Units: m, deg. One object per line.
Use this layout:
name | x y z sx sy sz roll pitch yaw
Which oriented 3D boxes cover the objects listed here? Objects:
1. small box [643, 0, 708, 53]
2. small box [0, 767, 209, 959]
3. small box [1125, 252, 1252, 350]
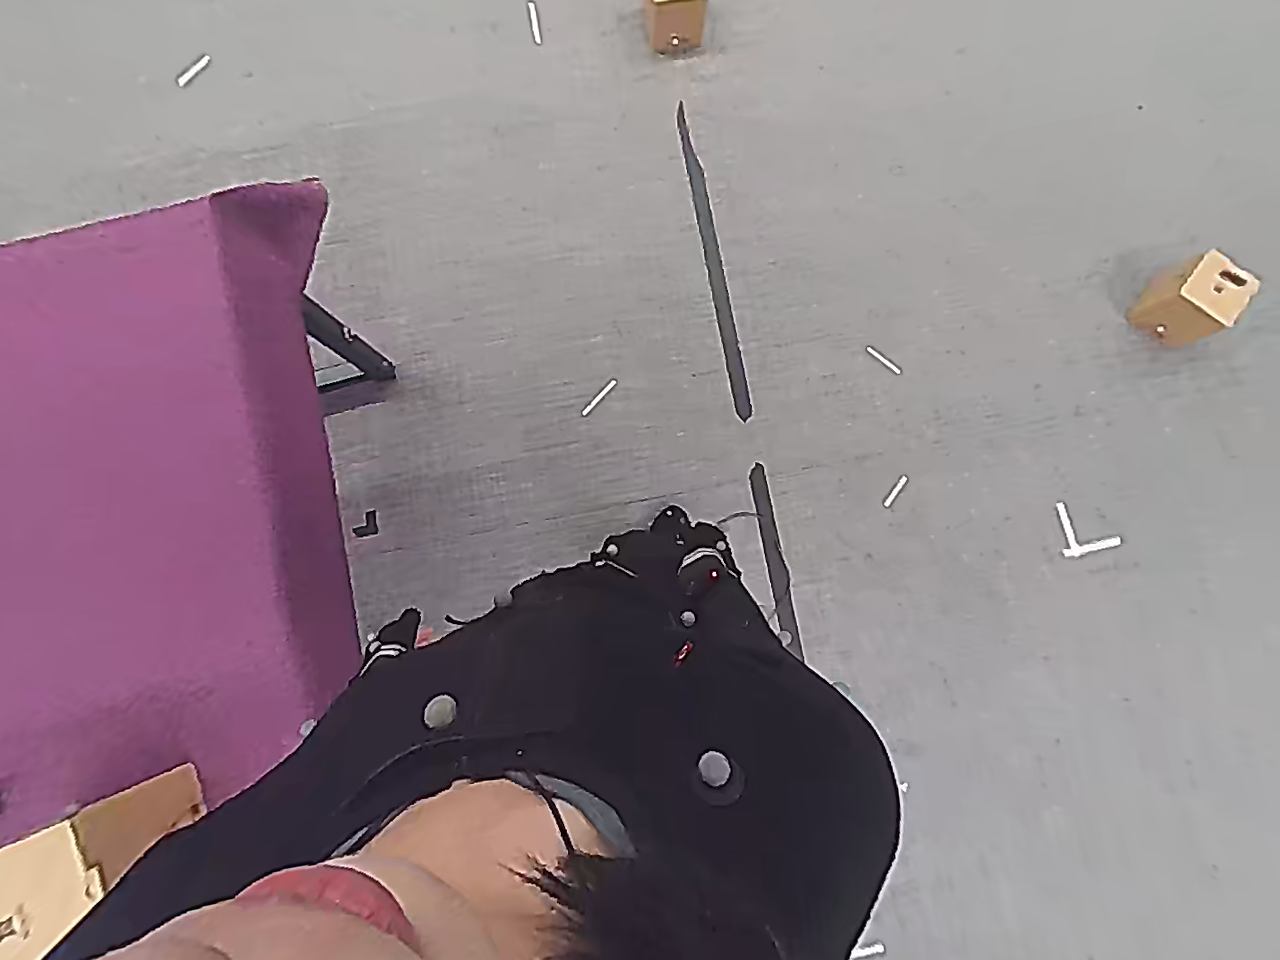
small box | 0.105 -1.486 1.681 0.168 0.176 0.179 -11 84 -2
small box | -0.673 0.484 0.655 0.179 0.176 0.168 -23 83 -5
small box | 1.598 -0.519 1.587 0.168 0.176 0.179 39 84 4
